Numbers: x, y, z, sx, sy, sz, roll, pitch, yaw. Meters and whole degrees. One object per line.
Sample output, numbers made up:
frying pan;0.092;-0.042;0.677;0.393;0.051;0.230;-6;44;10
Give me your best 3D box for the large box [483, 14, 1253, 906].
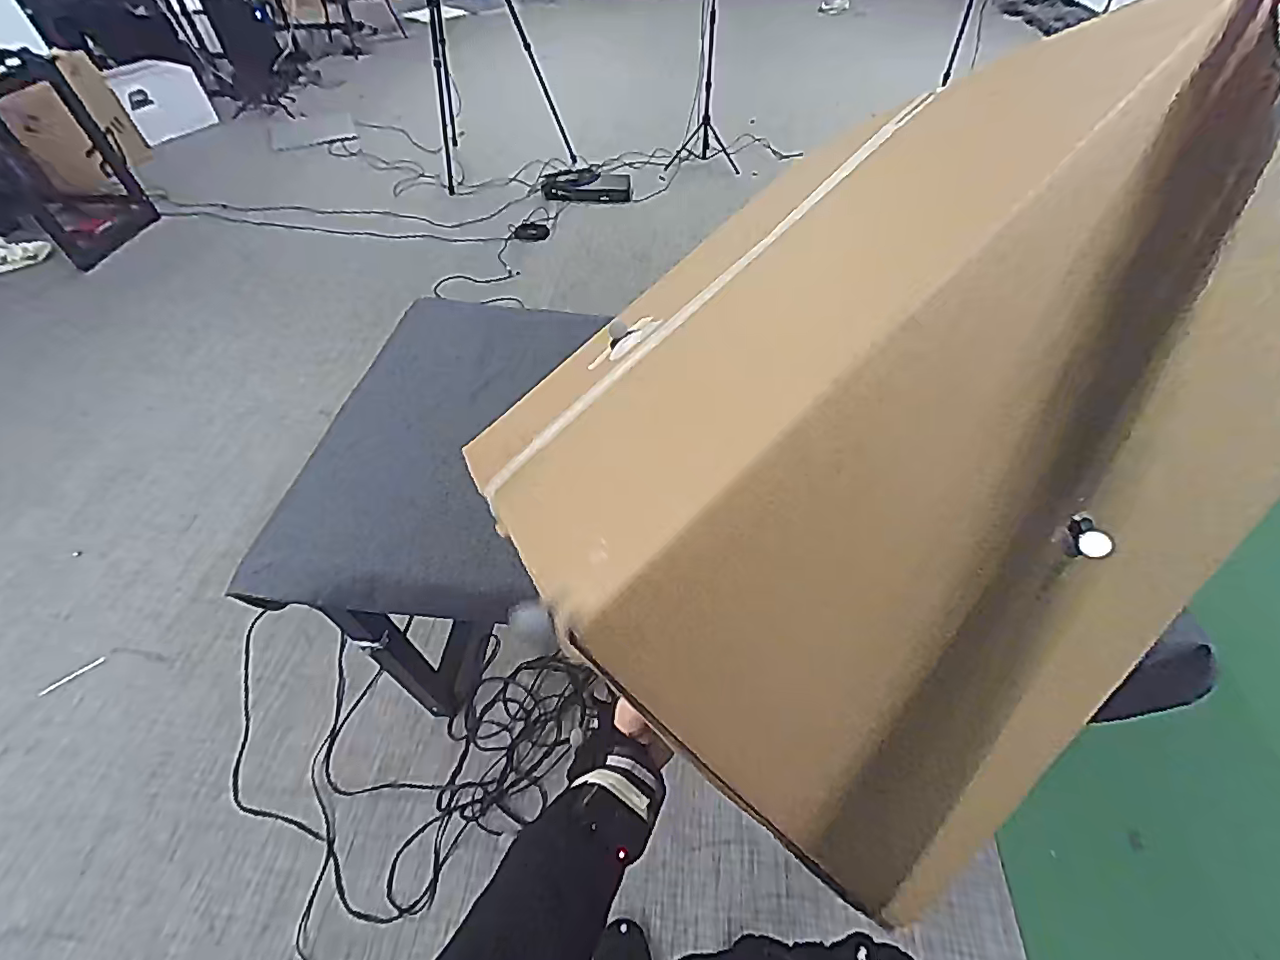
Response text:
large box;0.157;-0.011;0.415;0.408;0.320;0.320;-45;27;-8
